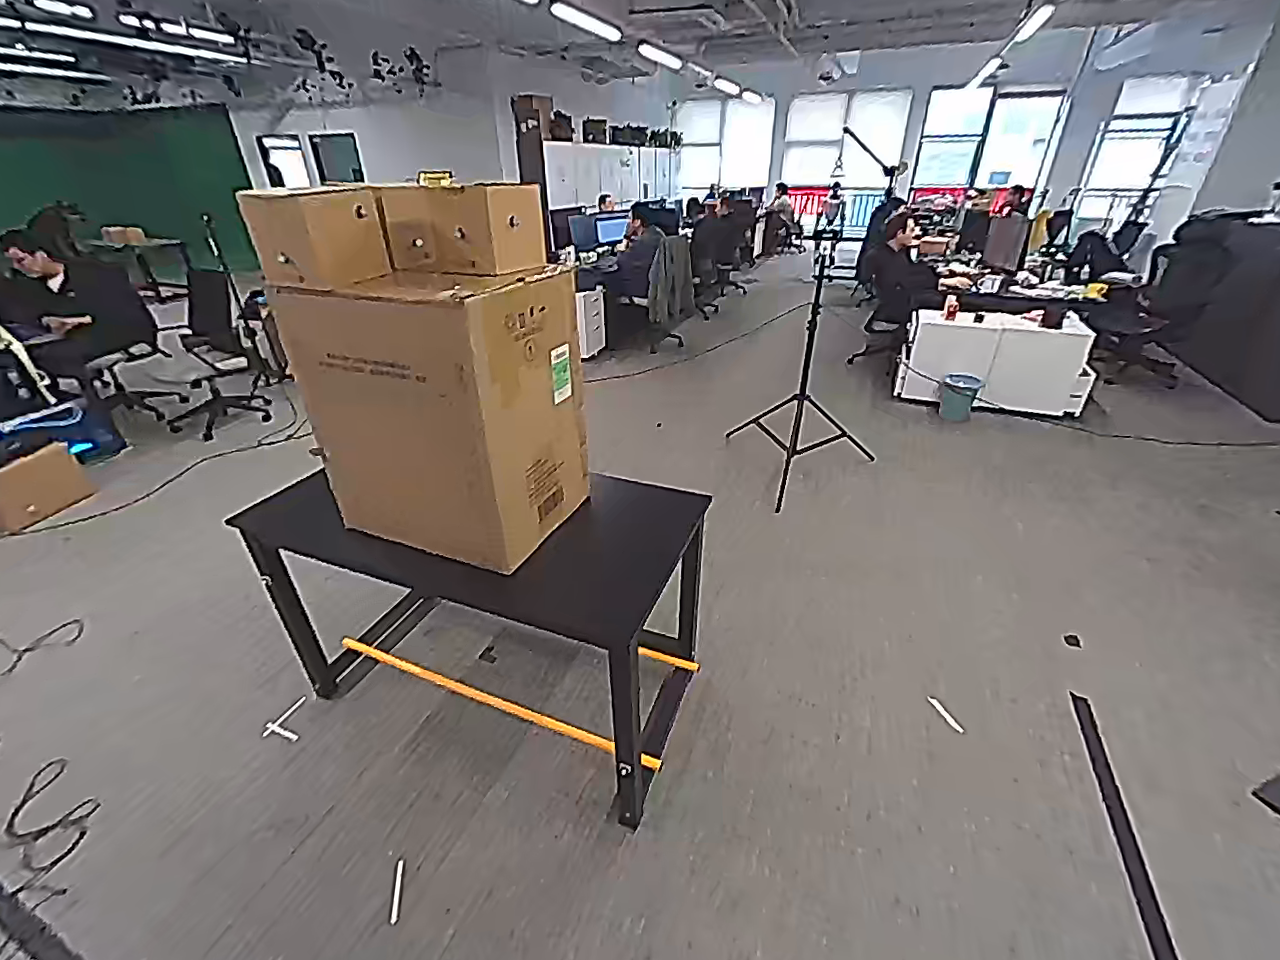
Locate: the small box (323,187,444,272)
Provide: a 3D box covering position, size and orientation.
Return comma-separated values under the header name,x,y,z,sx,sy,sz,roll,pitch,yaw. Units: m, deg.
name,x,y,z,sx,sy,sz,roll,pitch,yaw
small box,-0.586,-0.584,1.256,0.179,0.176,0.168,12,32,20
